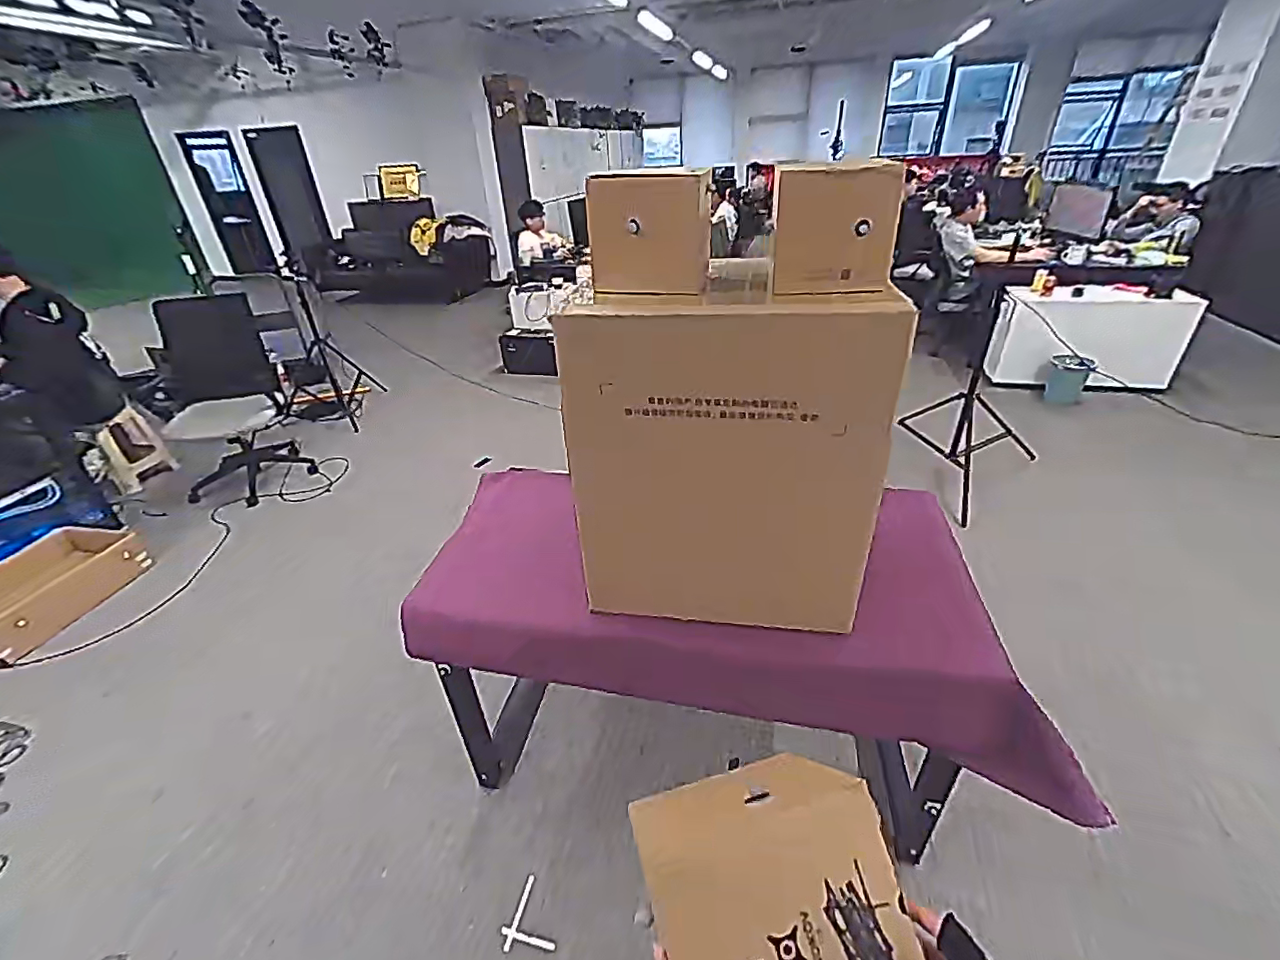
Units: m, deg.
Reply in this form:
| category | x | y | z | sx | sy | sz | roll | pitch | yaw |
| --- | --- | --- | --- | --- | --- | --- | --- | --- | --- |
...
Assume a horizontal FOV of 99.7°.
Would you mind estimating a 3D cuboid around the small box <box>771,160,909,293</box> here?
| category | x | y | z | sx | sy | sz | roll | pitch | yaw |
| --- | --- | --- | --- | --- | --- | --- | --- | --- | --- |
| small box | 0.295 | -0.390 | 0.836 | 0.168 | 0.176 | 0.179 | 2 | 31 | 9 |

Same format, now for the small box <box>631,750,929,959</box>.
| category | x | y | z | sx | sy | sz | roll | pitch | yaw |
| --- | --- | --- | --- | --- | --- | --- | --- | --- | --- |
| small box | 0.099 | 0.338 | 0.444 | 0.179 | 0.176 | 0.168 | -12 | 71 | -10 |

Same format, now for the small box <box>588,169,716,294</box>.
| category | x | y | z | sx | sy | sz | roll | pitch | yaw |
| --- | --- | --- | --- | --- | --- | --- | --- | --- | --- |
| small box | 0.028 | -0.407 | 0.886 | 0.179 | 0.176 | 0.168 | 5 | 33 | 12 |
